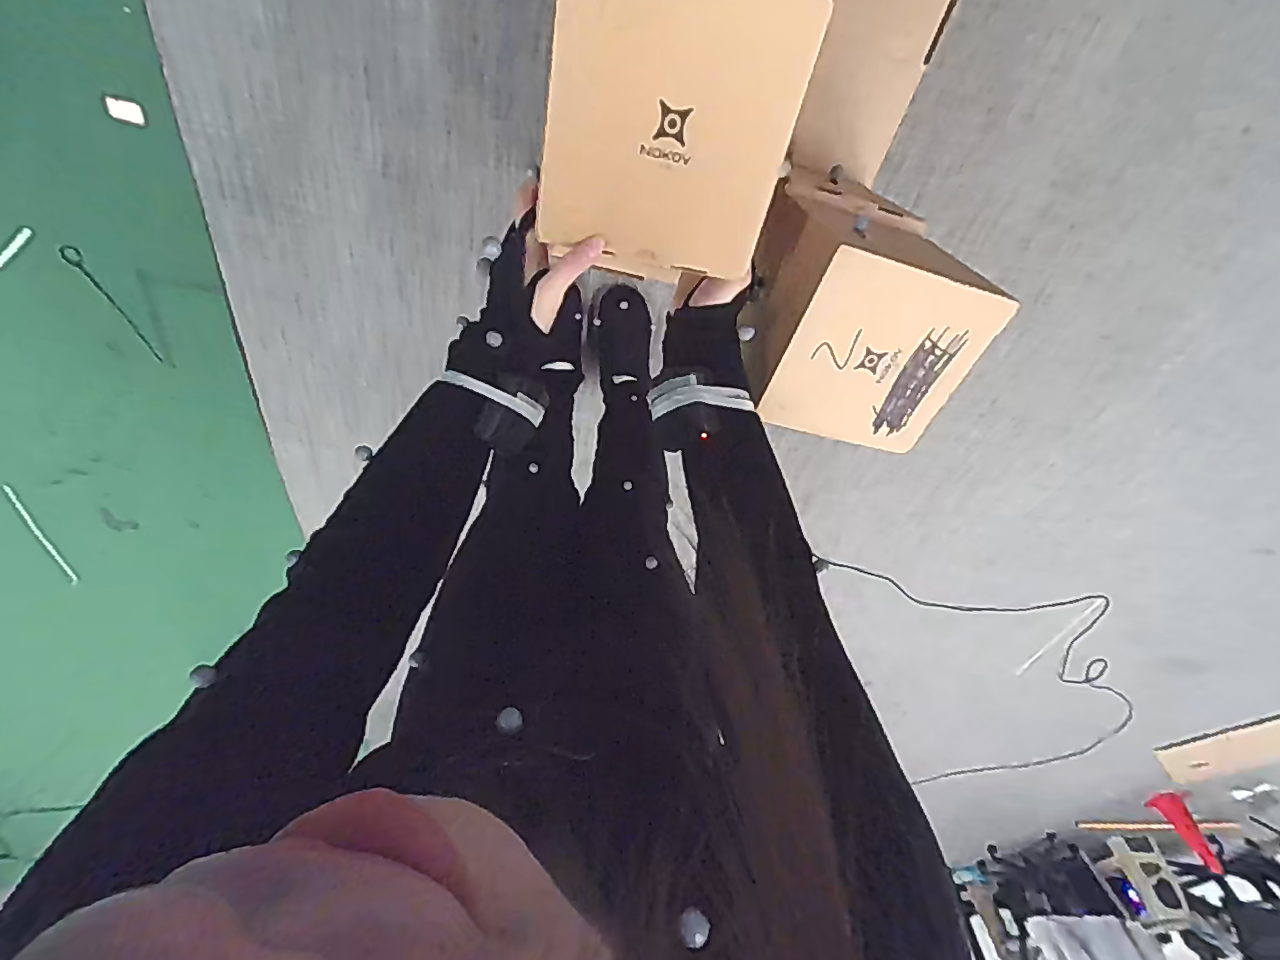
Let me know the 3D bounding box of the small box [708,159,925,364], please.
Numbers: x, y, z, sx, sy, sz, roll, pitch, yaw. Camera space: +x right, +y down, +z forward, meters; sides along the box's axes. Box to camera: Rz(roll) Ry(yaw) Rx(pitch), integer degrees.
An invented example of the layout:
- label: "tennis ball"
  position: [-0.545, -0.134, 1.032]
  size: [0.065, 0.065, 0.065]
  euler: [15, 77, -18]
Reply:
- label: "small box"
  position: [0.193, -0.271, 0.656]
  size: [0.168, 0.176, 0.179]
  euler: [11, 127, -13]

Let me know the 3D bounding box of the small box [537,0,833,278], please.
- label: "small box"
  position: [0.017, -0.288, 0.425]
  size: [0.168, 0.176, 0.179]
  euler: [8, 129, -9]
